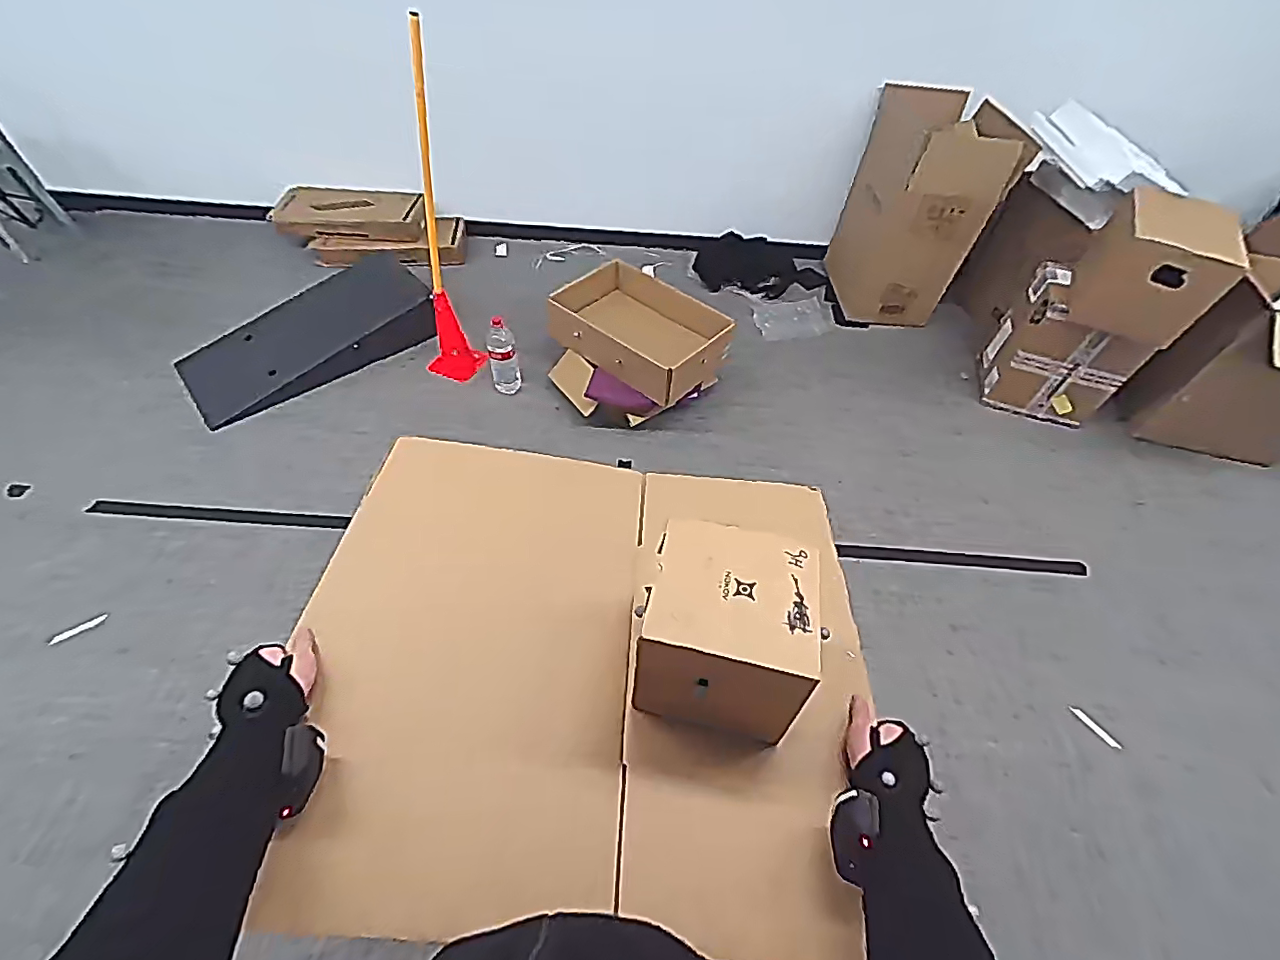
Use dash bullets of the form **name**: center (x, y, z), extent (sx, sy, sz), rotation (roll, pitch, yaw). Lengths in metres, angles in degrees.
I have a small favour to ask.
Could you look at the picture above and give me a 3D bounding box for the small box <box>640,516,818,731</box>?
- **small box**: center (0.099, 0.169, 0.631), extent (0.179, 0.176, 0.168), rotation (10, 46, 7)
